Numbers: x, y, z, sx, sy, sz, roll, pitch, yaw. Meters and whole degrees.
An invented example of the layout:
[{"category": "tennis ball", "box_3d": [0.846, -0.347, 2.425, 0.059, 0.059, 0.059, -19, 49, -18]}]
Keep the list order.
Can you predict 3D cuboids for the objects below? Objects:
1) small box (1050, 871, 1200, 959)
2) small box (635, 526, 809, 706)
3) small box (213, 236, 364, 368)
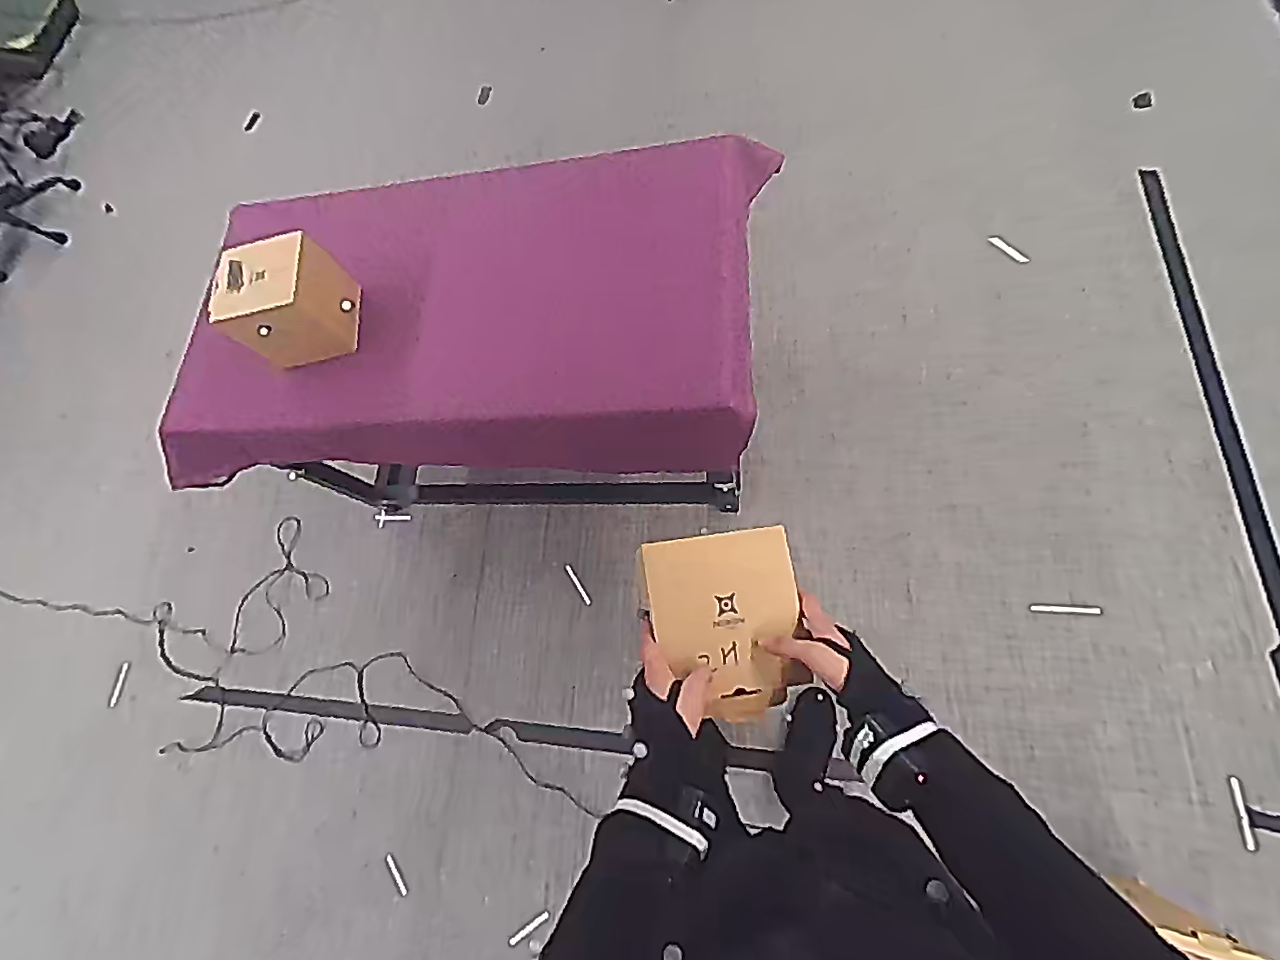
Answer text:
[{"category": "small box", "box_3d": [0.950, 0.910, 1.072, 0.179, 0.176, 0.168, 4, 73, 13]}, {"category": "small box", "box_3d": [0.087, 0.162, 0.670, 0.168, 0.176, 0.179, -8, 79, -4]}, {"category": "small box", "box_3d": [-0.685, -0.342, 1.071, 0.179, 0.176, 0.168, -10, 70, 8]}]
